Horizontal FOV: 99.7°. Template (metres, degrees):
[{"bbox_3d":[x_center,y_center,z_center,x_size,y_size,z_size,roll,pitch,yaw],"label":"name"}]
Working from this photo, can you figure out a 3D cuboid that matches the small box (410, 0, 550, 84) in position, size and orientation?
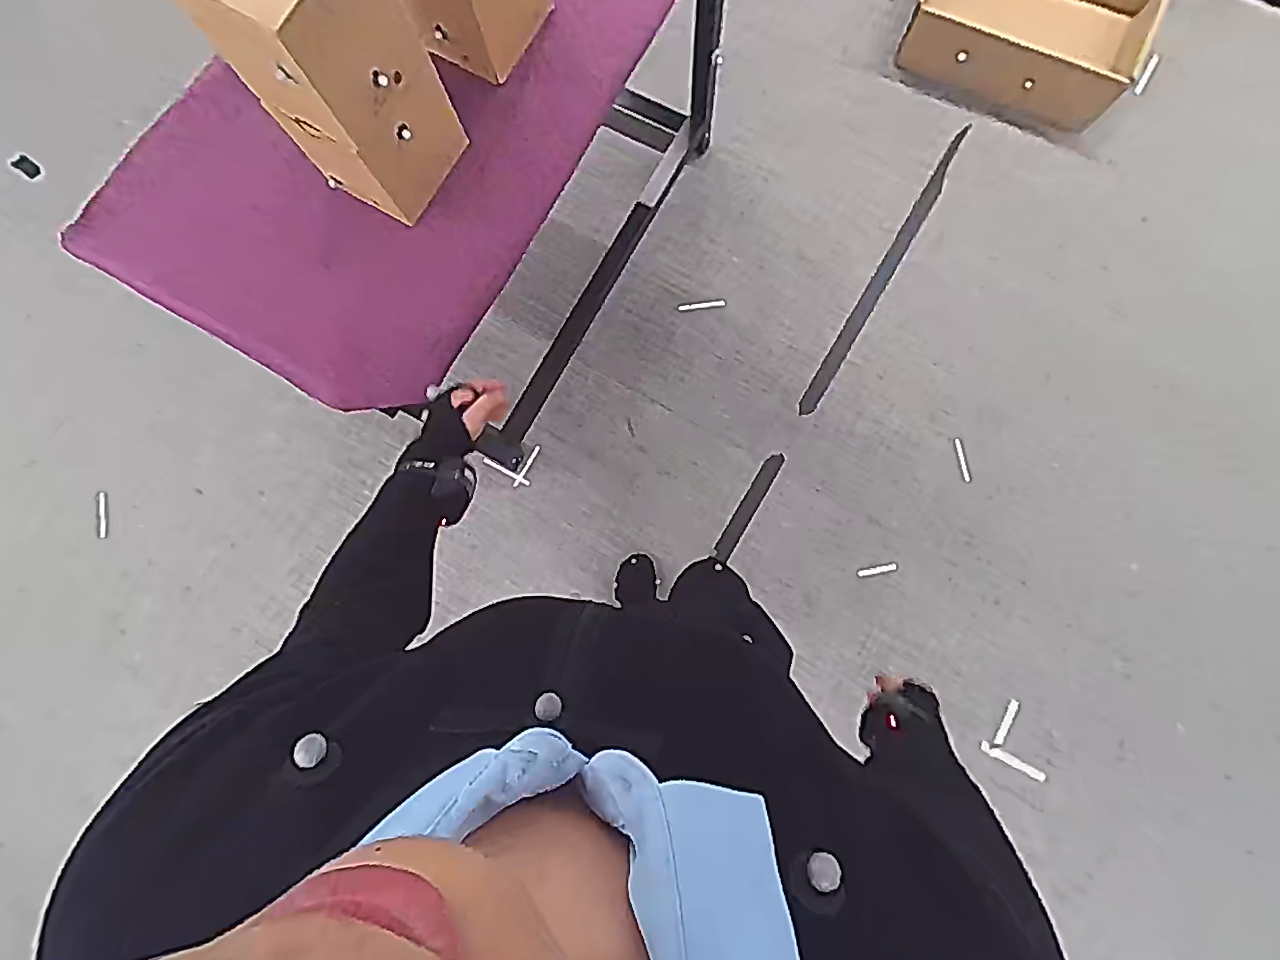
[{"bbox_3d":[-0.256,-0.782,0.843,0.168,0.176,0.179,30,85,6],"label":"small box"}]

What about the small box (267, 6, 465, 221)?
[{"bbox_3d":[-0.392,-0.533,0.810,0.168,0.176,0.179,30,83,6],"label":"small box"}]
